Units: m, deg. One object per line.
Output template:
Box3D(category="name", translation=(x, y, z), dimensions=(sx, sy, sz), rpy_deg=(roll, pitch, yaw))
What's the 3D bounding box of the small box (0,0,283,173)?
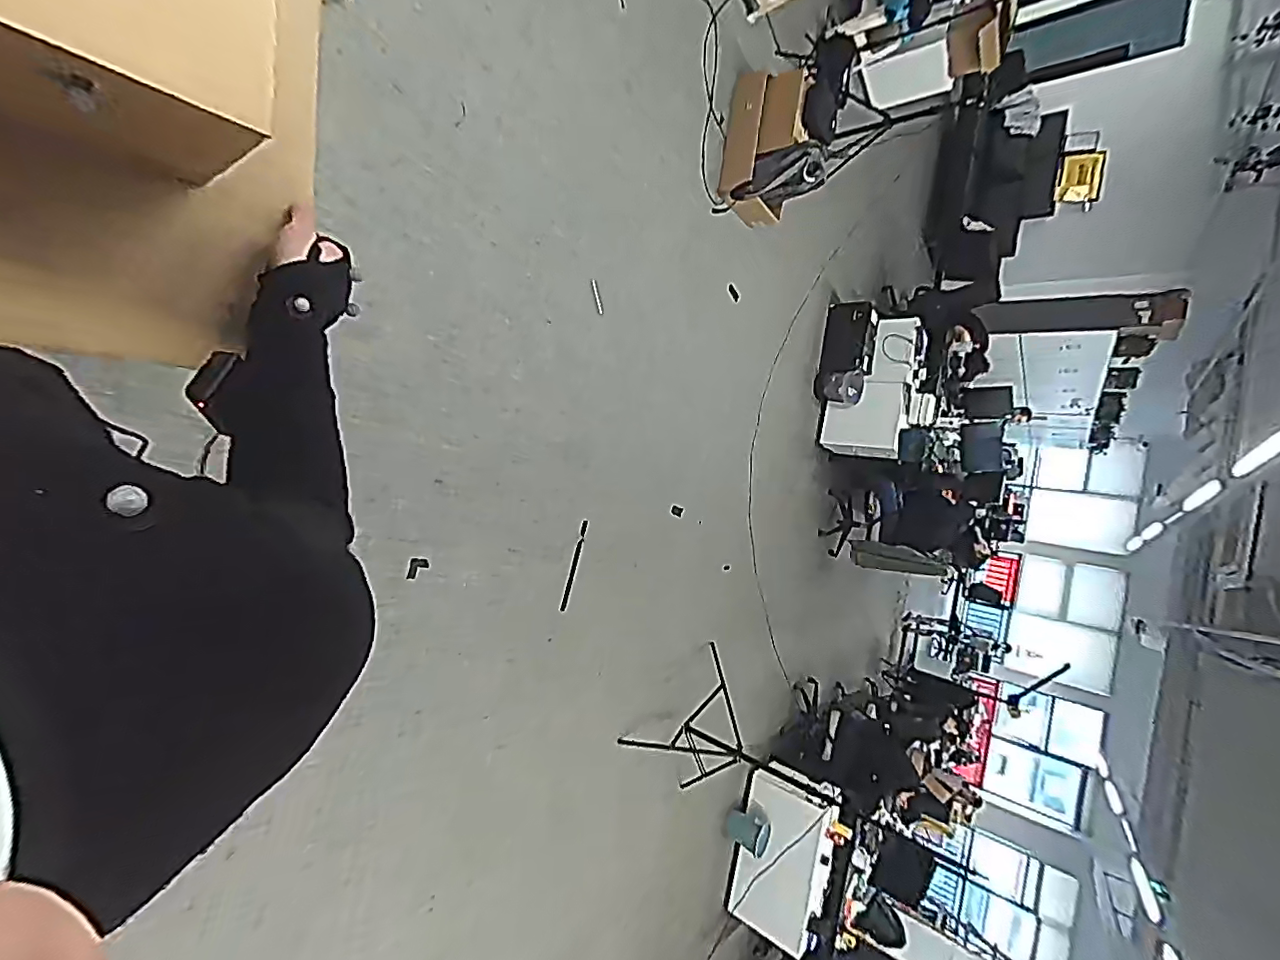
Box3D(category="small box", translation=(-0.385, -0.346, 0.386), dimensions=(0.179, 0.176, 0.168), rpy_deg=(-1, 98, -52))
